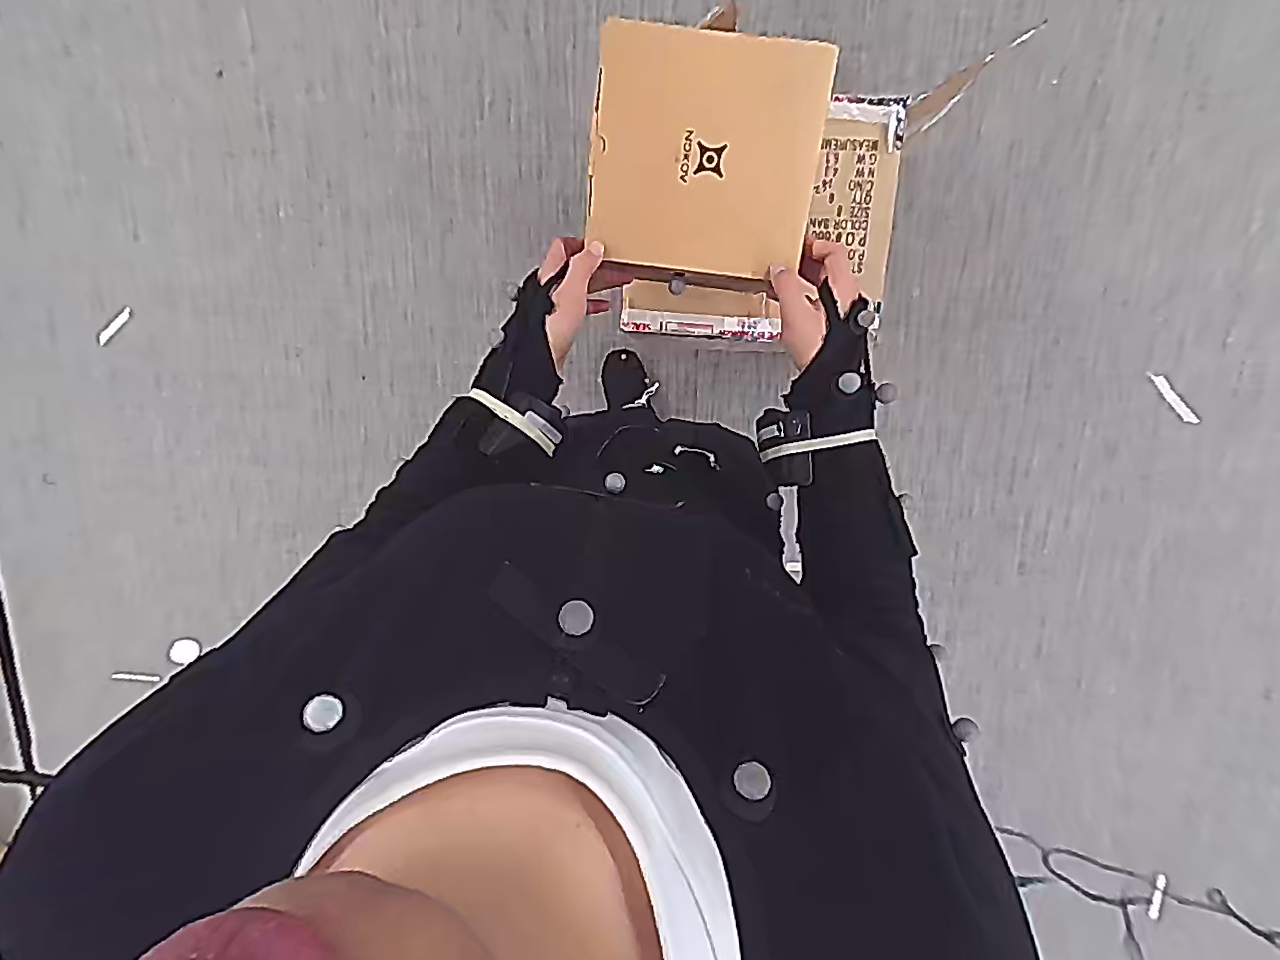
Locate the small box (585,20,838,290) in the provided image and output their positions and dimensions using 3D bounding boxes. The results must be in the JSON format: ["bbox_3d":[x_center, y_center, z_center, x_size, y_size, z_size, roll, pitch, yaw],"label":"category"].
[{"bbox_3d":[0.055,-0.272,0.496,0.179,0.176,0.168,8,106,2],"label":"small box"}]
